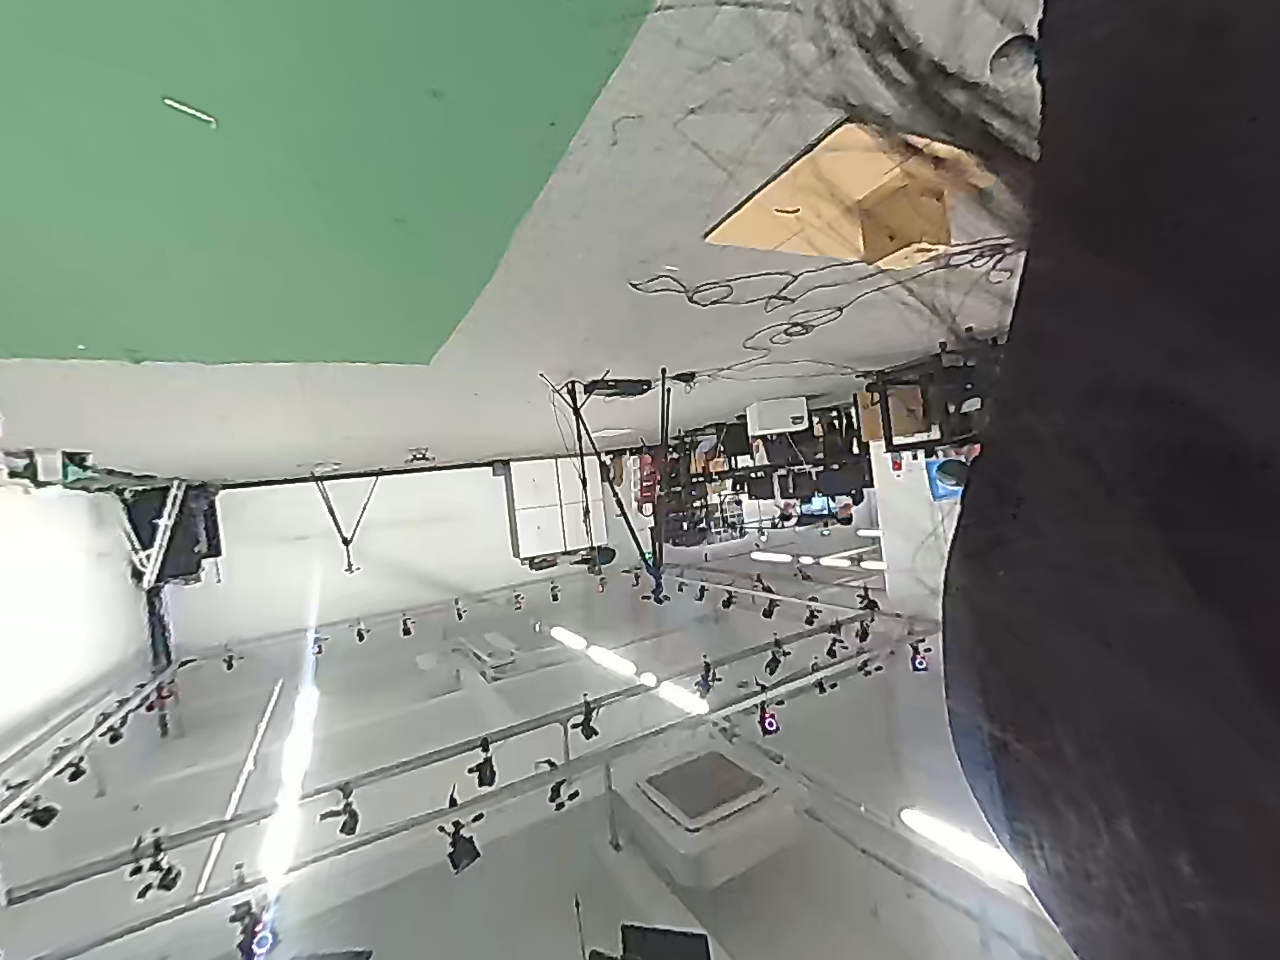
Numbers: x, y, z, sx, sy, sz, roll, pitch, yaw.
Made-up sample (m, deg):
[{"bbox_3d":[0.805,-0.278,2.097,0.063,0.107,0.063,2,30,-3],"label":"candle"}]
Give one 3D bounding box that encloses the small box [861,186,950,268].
[{"bbox_3d":[0.802,-0.765,1.644,0.168,0.176,0.179,-7,180,-25],"label":"small box"}]
